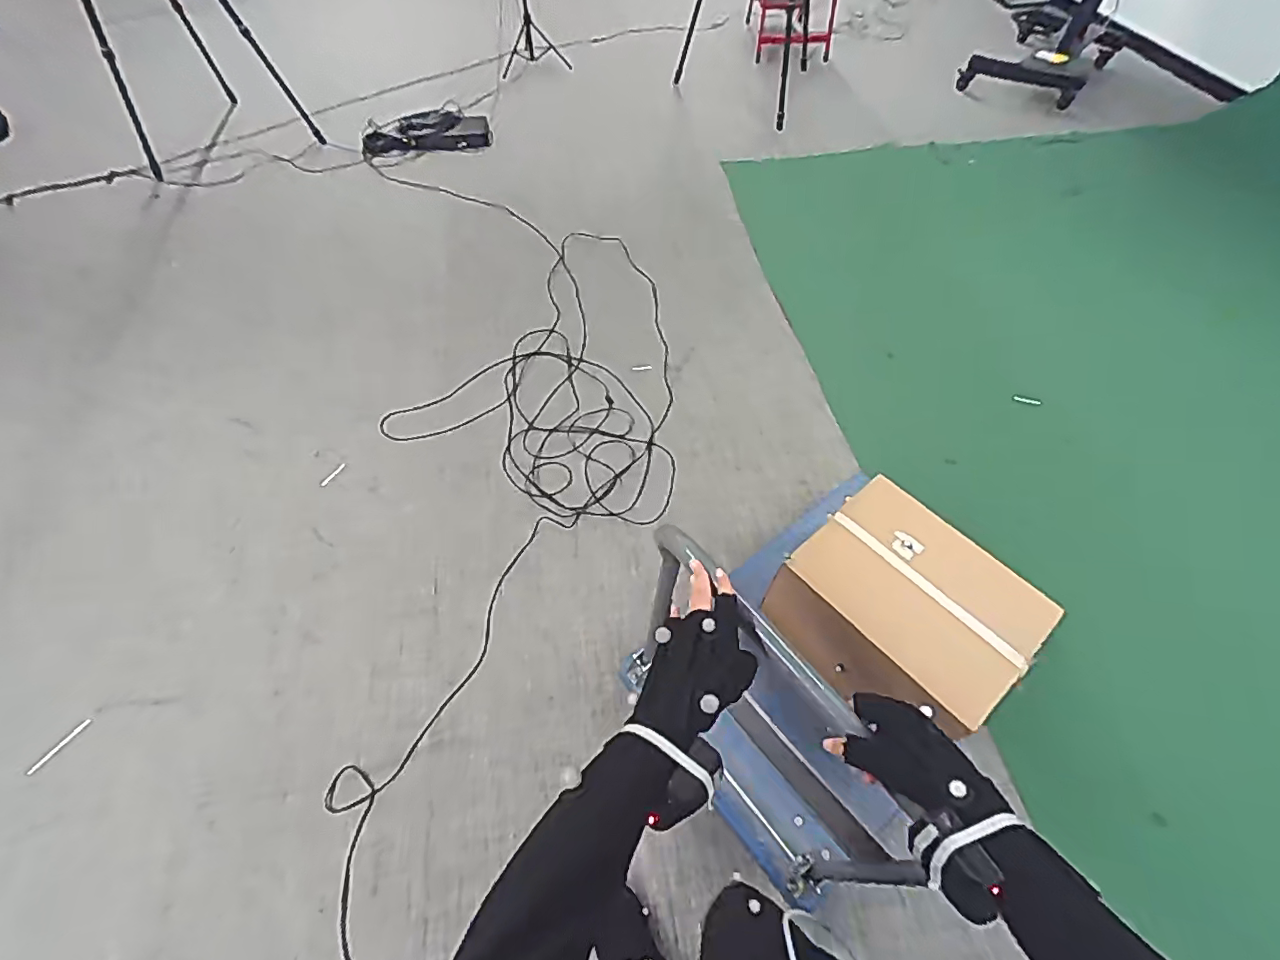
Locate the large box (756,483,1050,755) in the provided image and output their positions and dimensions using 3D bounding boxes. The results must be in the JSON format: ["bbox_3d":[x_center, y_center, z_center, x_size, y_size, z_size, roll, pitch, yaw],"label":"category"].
[{"bbox_3d":[0.513,0.291,1.140,0.320,0.320,0.408,-36,62,-22],"label":"large box"}]
